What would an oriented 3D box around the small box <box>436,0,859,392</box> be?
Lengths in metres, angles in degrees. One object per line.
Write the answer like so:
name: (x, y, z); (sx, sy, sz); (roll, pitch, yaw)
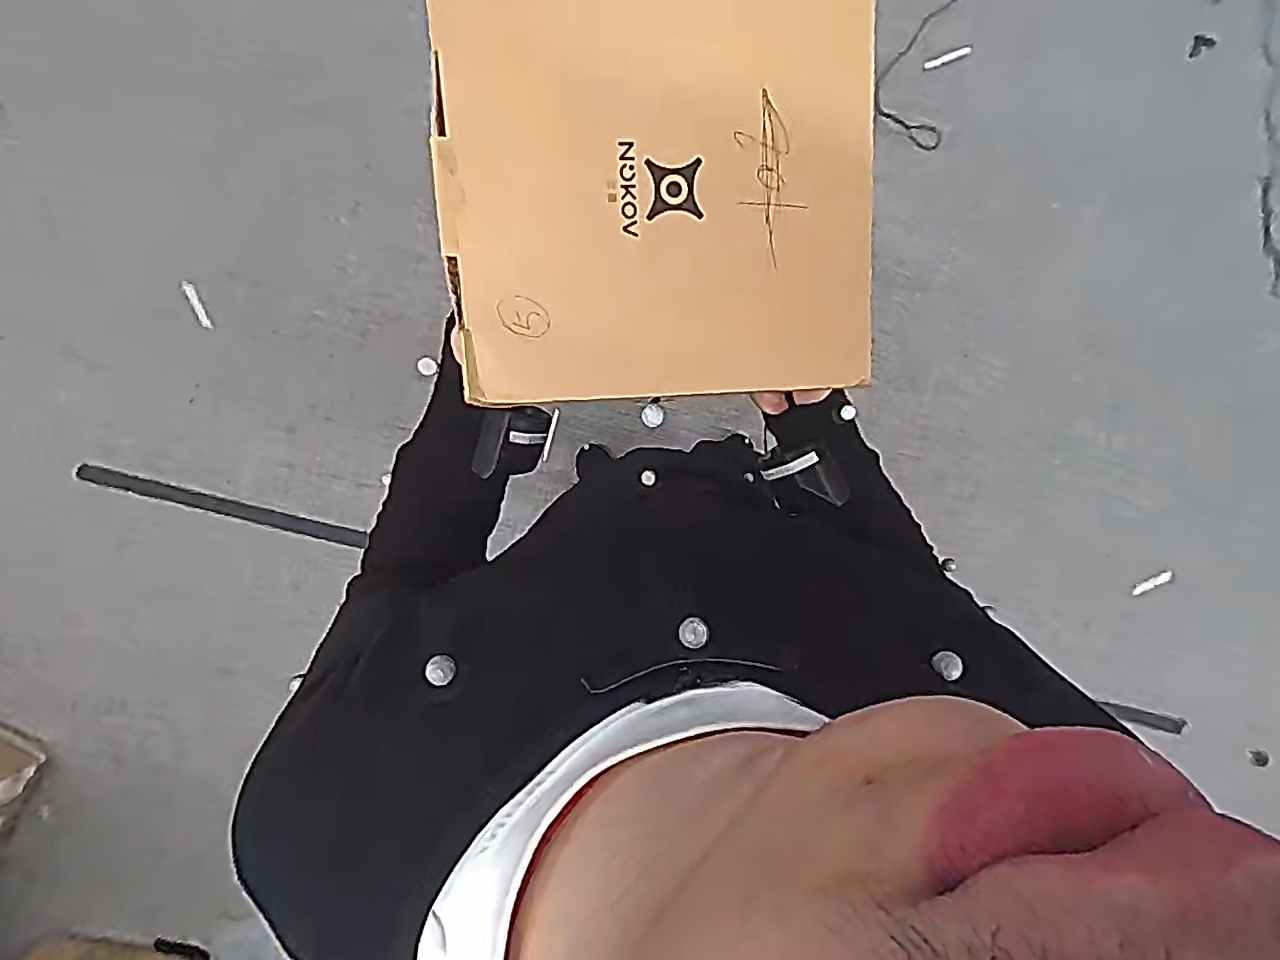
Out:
small box: (0.002, -0.137, 0.309); (0.179, 0.176, 0.168); (-4, 100, -5)
